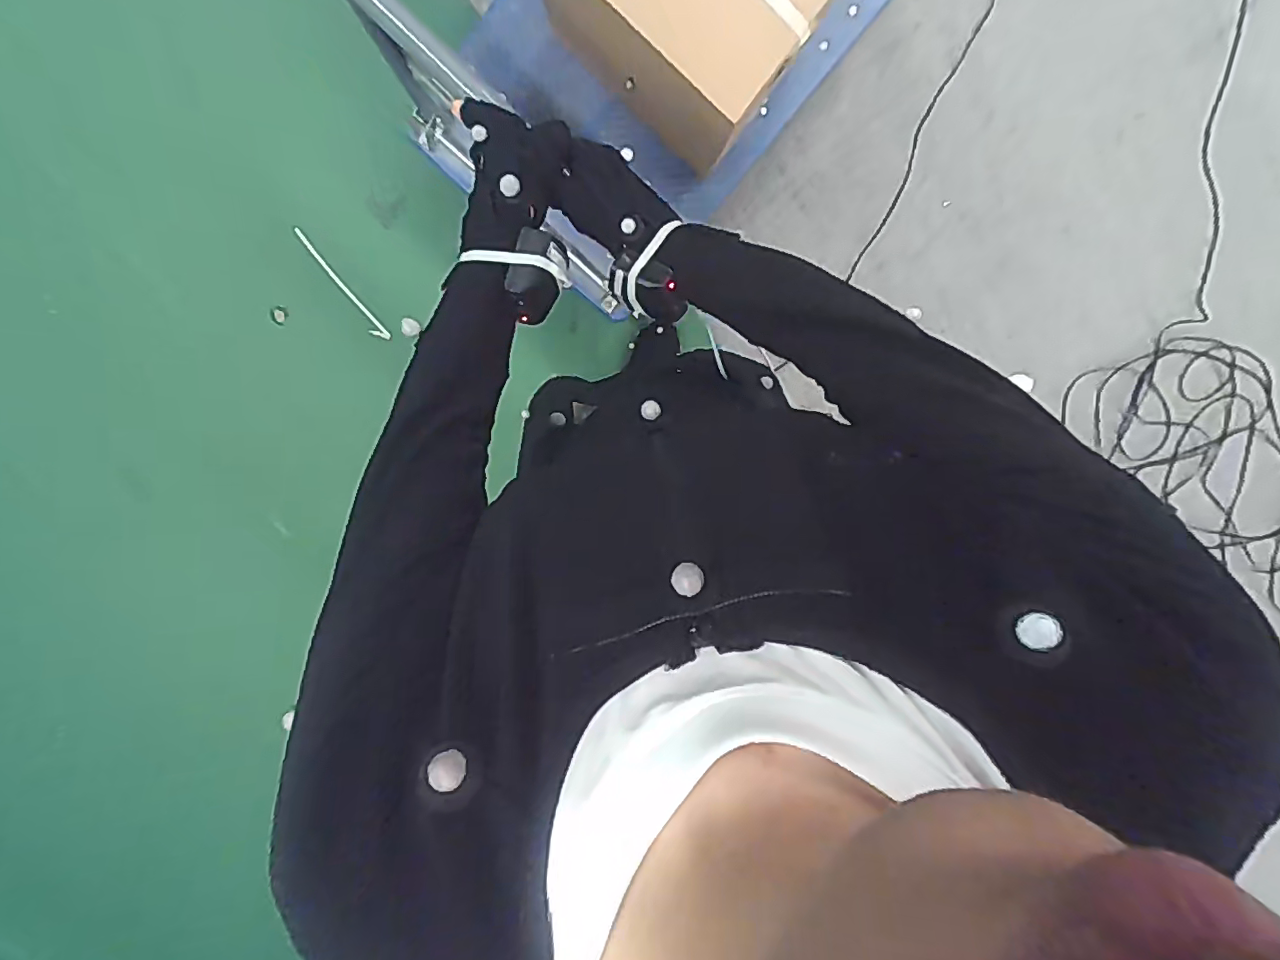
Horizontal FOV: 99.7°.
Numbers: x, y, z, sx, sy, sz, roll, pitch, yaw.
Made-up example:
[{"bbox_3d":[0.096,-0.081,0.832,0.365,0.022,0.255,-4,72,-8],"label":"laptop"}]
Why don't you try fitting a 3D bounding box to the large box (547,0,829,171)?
[{"bbox_3d":[0.083,-0.833,0.928,0.408,0.320,0.320,37,100,-10],"label":"large box"}]
